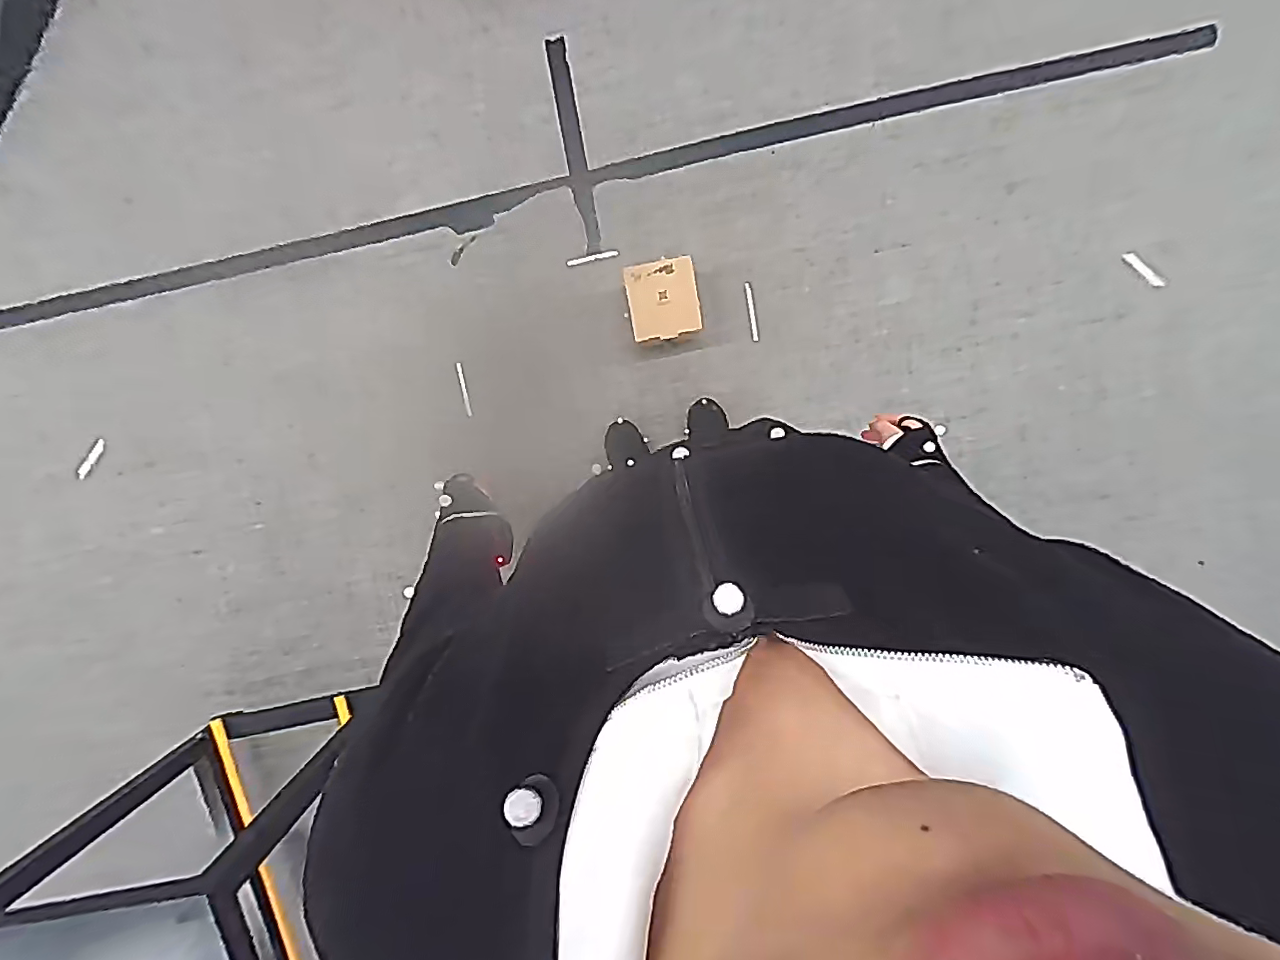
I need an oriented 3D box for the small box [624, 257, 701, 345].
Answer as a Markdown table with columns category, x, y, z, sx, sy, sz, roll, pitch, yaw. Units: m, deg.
| category | x | y | z | sx | sy | sz | roll | pitch | yaw |
| --- | --- | --- | --- | --- | --- | --- | --- | --- | --- |
| small box | 0.057 | -0.440 | 1.357 | 0.168 | 0.176 | 0.179 | -10 | 99 | 2 |
